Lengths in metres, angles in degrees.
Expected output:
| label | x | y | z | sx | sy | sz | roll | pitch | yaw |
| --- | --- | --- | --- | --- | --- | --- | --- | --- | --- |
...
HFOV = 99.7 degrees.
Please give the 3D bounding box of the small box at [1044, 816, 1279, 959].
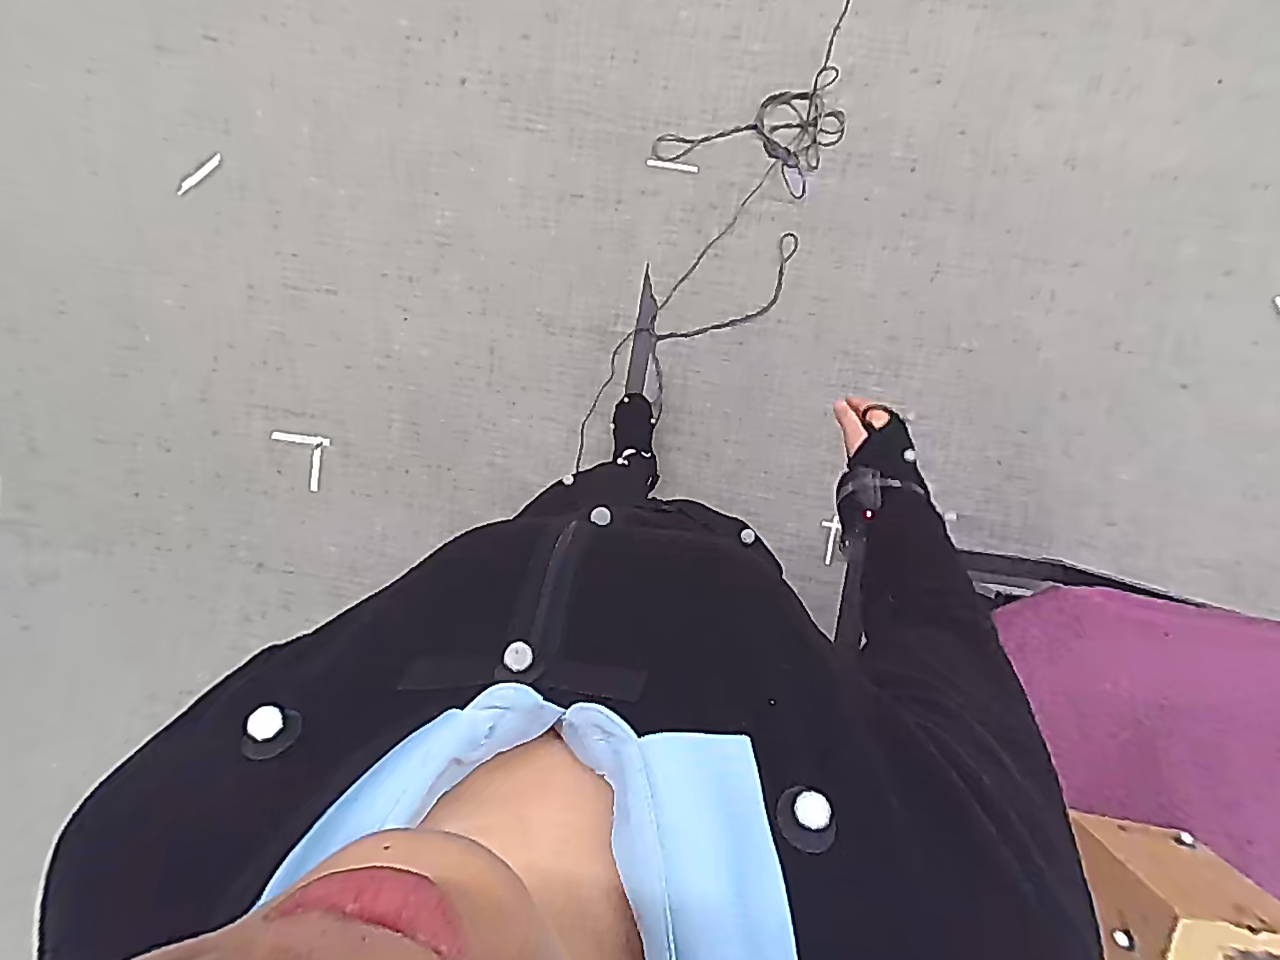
| label | x | y | z | sx | sy | sz | roll | pitch | yaw |
| --- | --- | --- | --- | --- | --- | --- | --- | --- | --- |
| small box | 0.644 | 0.556 | 0.665 | 0.168 | 0.176 | 0.179 | 10 | 94 | 3 |
